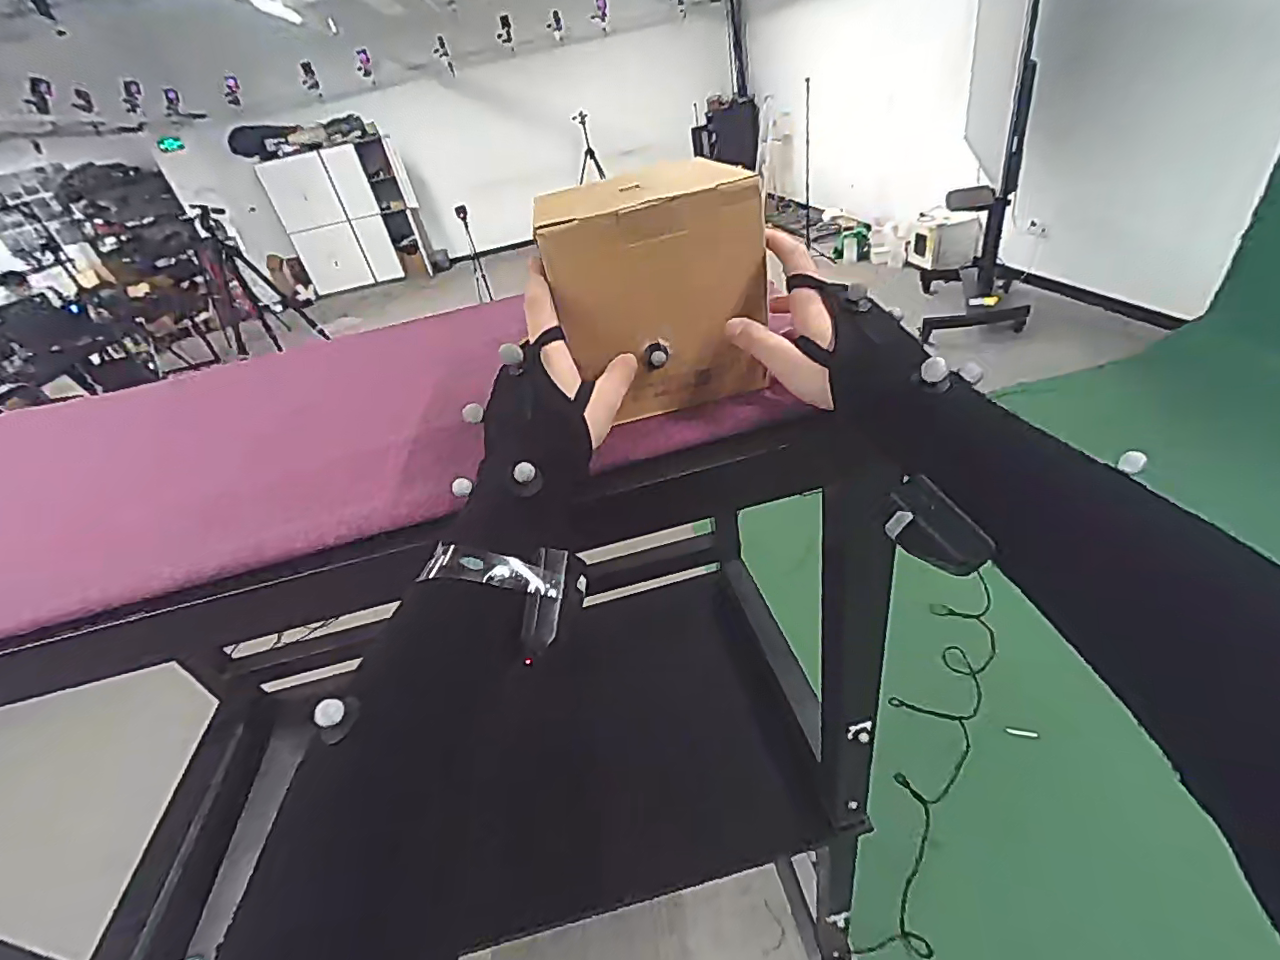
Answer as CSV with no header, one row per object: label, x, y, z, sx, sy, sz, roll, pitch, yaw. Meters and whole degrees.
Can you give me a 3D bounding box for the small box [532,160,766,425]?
small box,0.006,-0.173,0.490,0.168,0.176,0.179,-15,36,-1
